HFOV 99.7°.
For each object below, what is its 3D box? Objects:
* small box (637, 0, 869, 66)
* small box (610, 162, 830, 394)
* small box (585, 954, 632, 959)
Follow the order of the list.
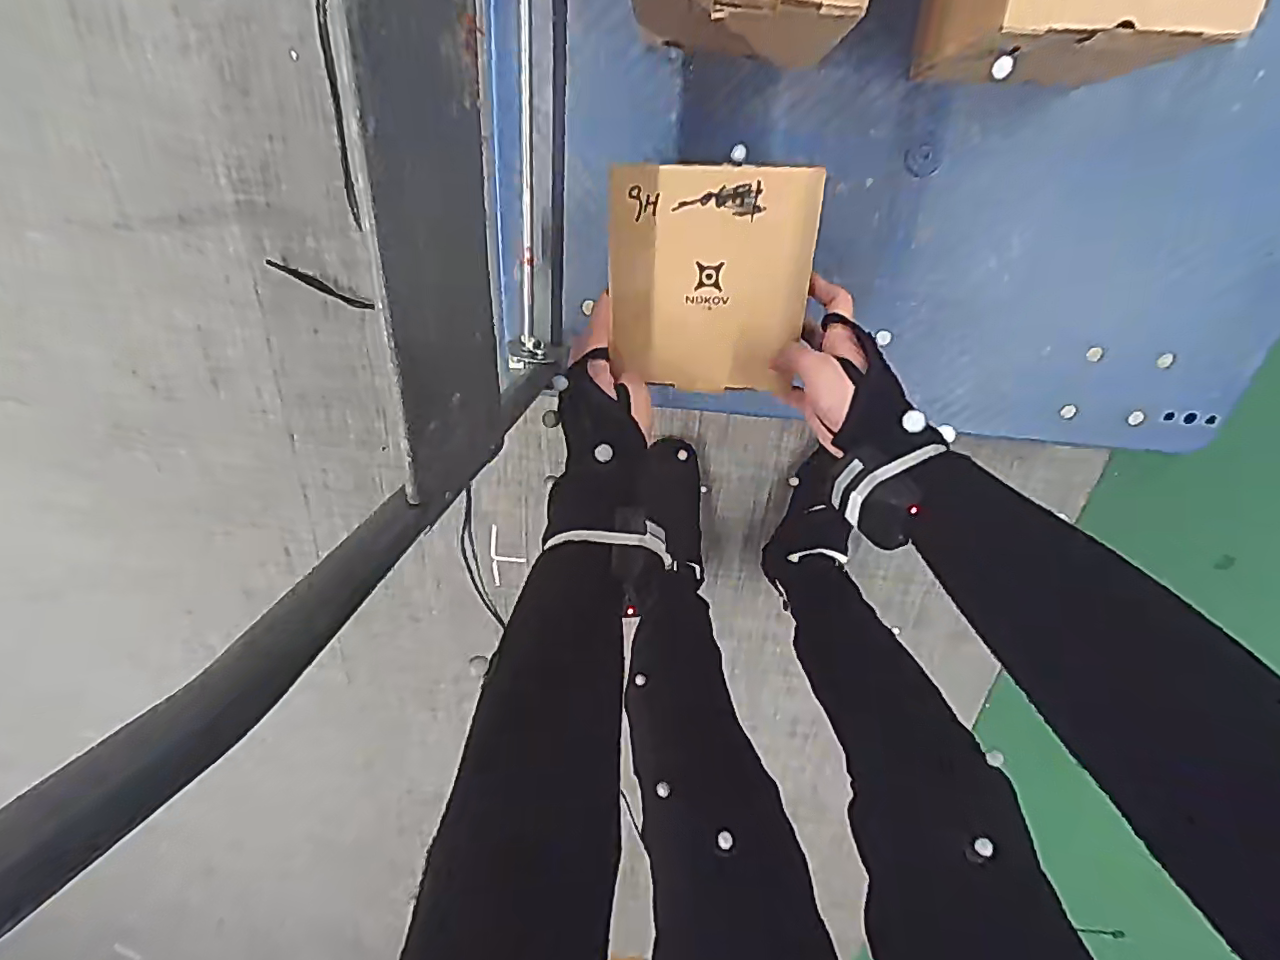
[{"bbox_3d":[0.089,-0.436,0.399,0.168,0.176,0.179,8,116,-1],"label":"small box"},{"bbox_3d":[0.065,-0.197,0.513,0.168,0.176,0.179,4,119,3],"label":"small box"},{"bbox_3d":[-0.092,1.538,1.590,0.179,0.176,0.168,10,116,-2],"label":"small box"}]
